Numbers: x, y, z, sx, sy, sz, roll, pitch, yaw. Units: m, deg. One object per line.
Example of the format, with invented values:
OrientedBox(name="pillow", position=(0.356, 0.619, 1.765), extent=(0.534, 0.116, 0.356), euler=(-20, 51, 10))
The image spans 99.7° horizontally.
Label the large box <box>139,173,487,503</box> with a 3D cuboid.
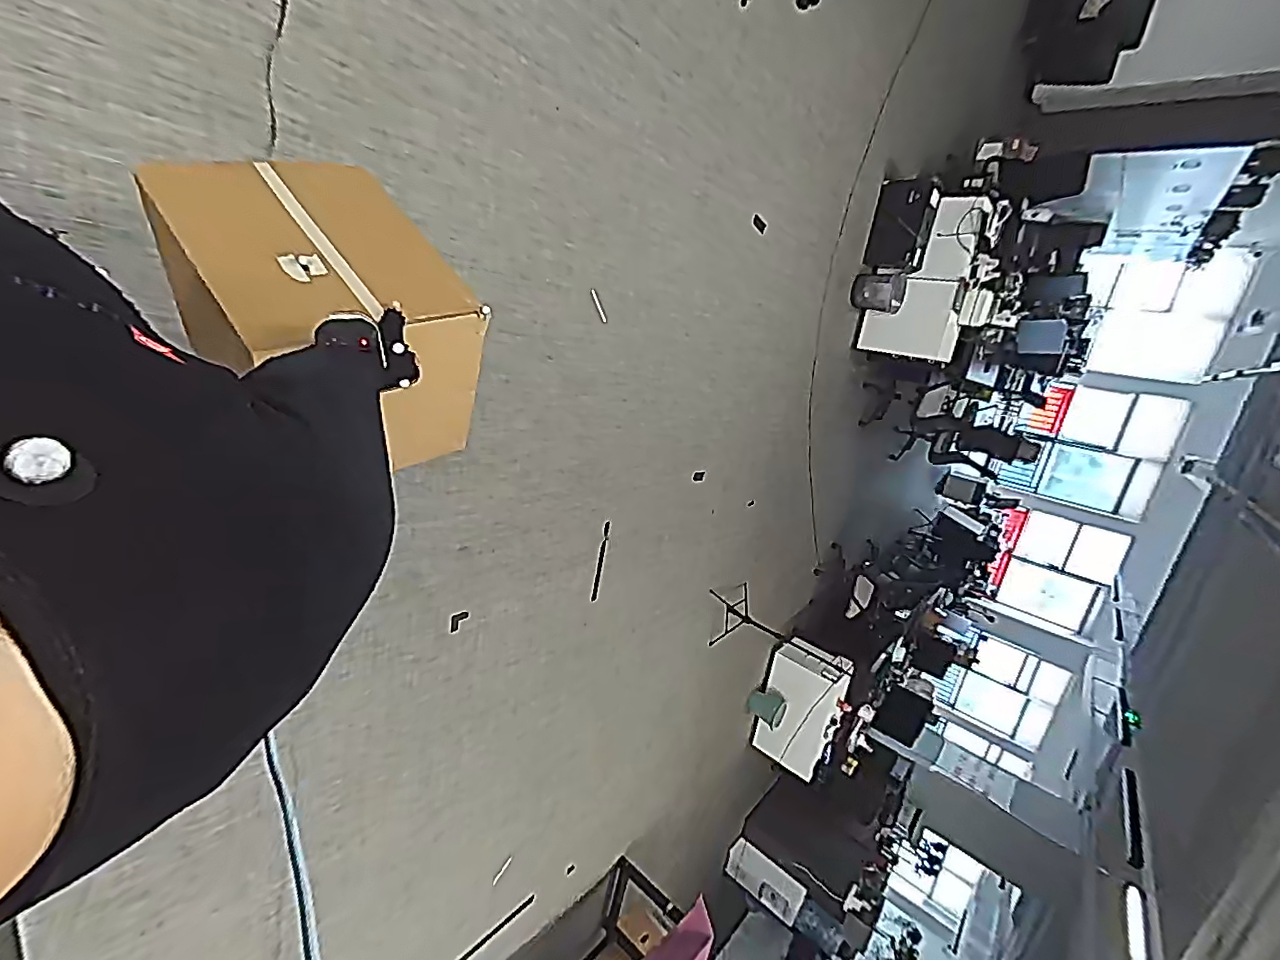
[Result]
OrientedBox(name="large box", position=(-0.519, -0.242, 0.894), extent=(0.320, 0.408, 0.320), euler=(-28, 159, -39))
